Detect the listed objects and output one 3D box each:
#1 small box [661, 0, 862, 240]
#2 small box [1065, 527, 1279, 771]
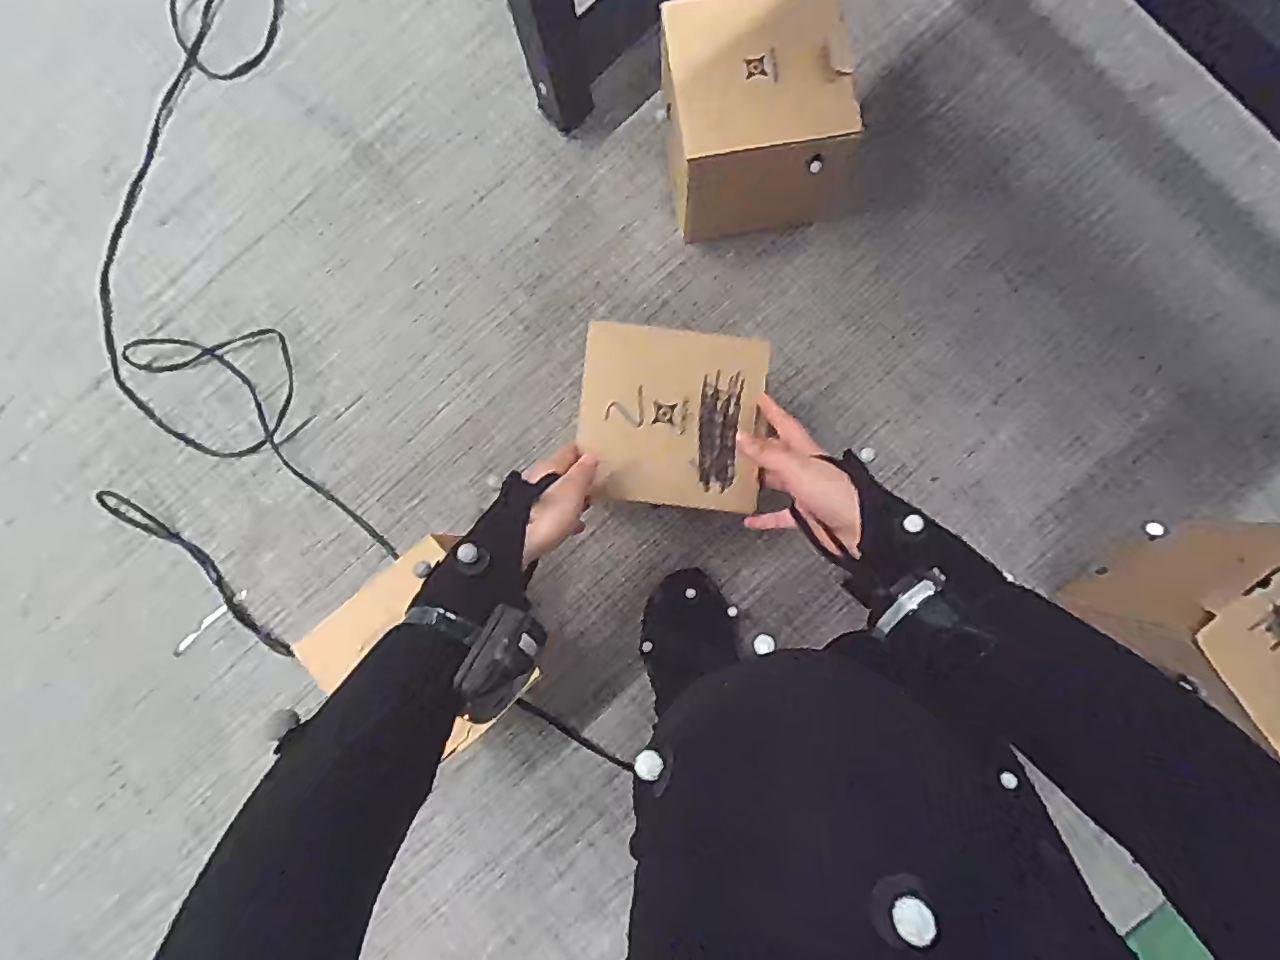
[{"bbox_3d":[0.122,-0.395,0.609,0.179,0.176,0.168,-9,86,1],"label":"small box"},{"bbox_3d":[0.602,0.160,0.553,0.168,0.176,0.179,-36,87,0],"label":"small box"}]
